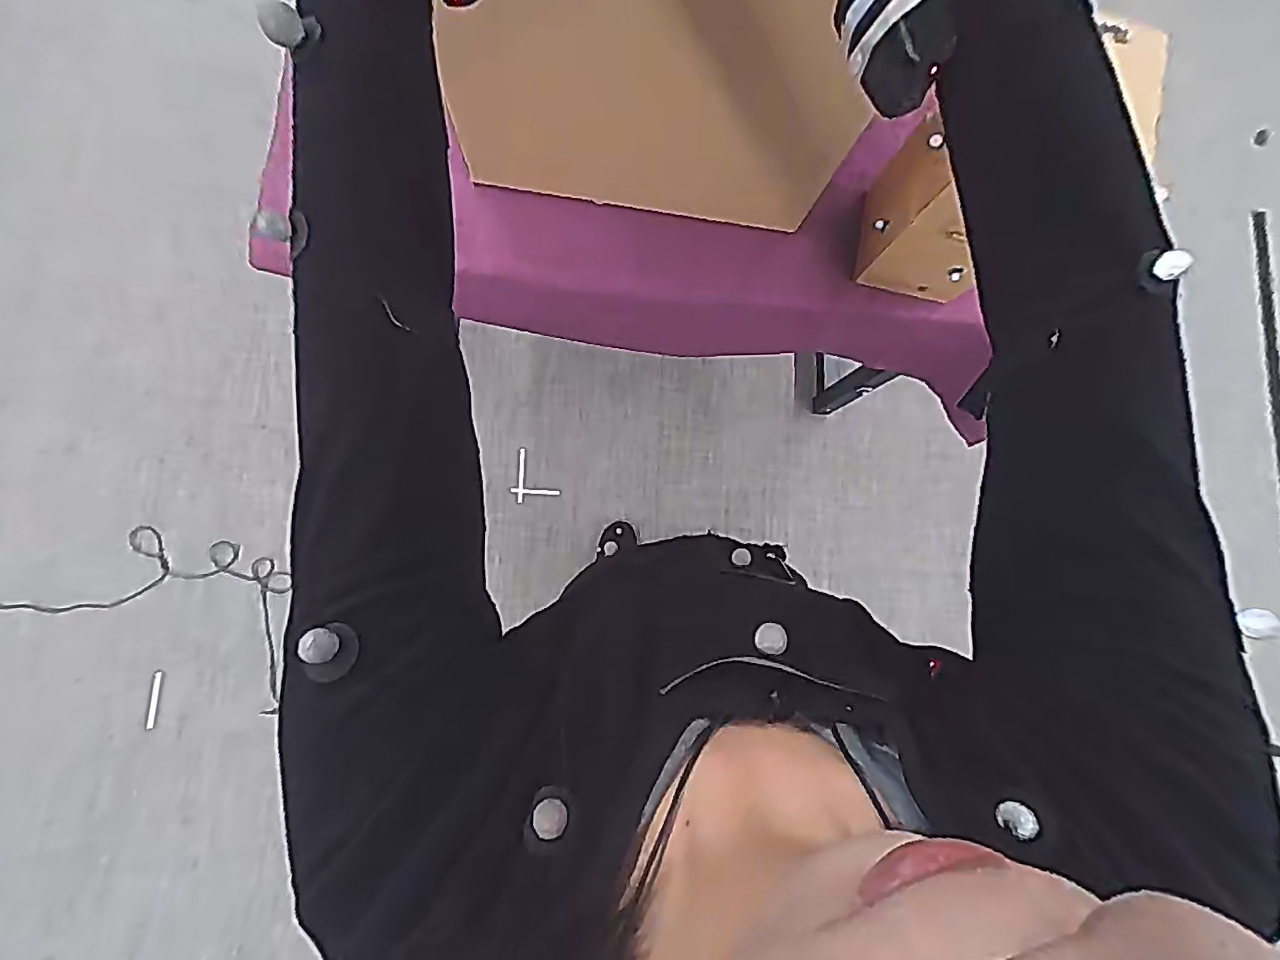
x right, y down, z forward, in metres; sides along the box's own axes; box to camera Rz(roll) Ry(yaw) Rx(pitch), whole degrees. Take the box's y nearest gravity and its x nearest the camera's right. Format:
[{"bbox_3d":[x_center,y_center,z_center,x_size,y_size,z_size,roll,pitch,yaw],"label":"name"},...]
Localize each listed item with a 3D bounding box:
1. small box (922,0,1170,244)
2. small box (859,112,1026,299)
[{"bbox_3d":[0.479,-0.424,0.662,0.168,0.176,0.179,16,82,-4],"label":"small box"},{"bbox_3d":[0.455,-0.402,0.824,0.168,0.176,0.179,12,81,-4],"label":"small box"}]
